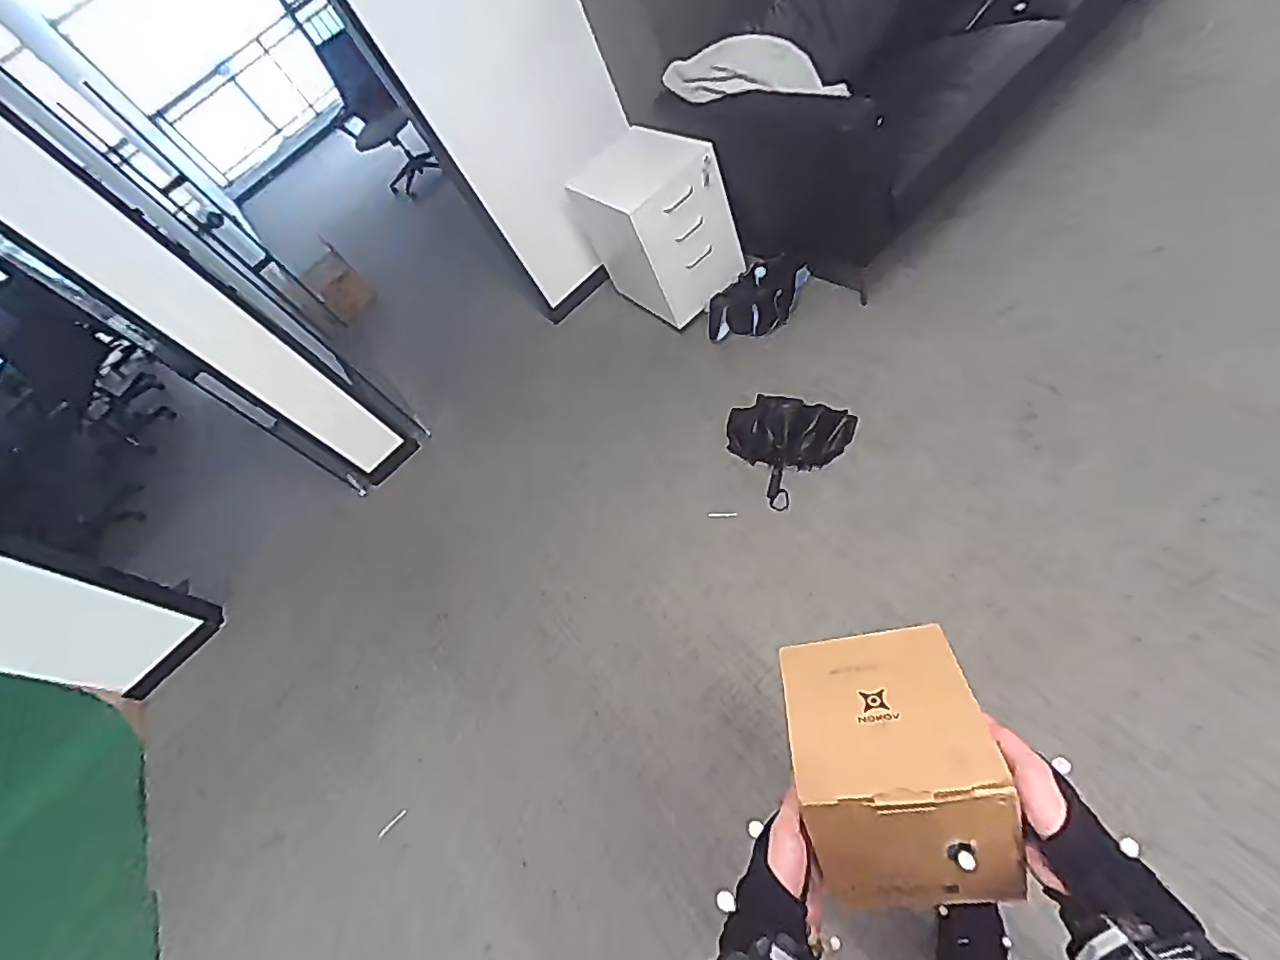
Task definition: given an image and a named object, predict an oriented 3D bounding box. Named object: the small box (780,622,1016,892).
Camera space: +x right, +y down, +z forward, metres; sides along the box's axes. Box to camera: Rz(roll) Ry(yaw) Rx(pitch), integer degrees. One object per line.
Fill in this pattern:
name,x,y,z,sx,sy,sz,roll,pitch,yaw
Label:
small box,0.245,0.273,0.535,0.168,0.176,0.179,-13,25,15
